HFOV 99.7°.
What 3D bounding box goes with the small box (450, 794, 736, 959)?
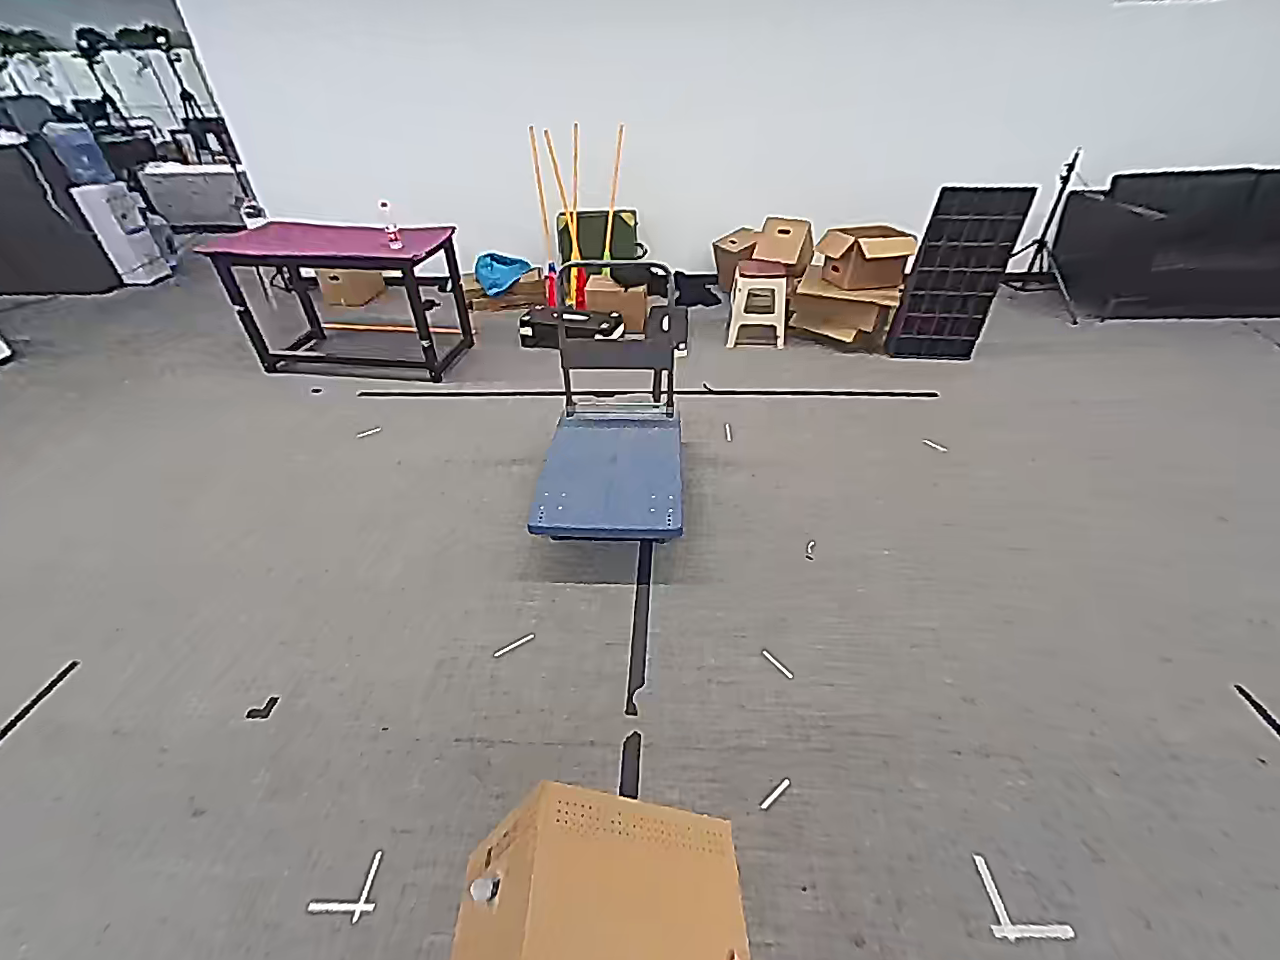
[{"bbox_3d":[-0.037,0.366,0.410,0.179,0.168,0.176,24,32,-18],"label":"small box"}]
